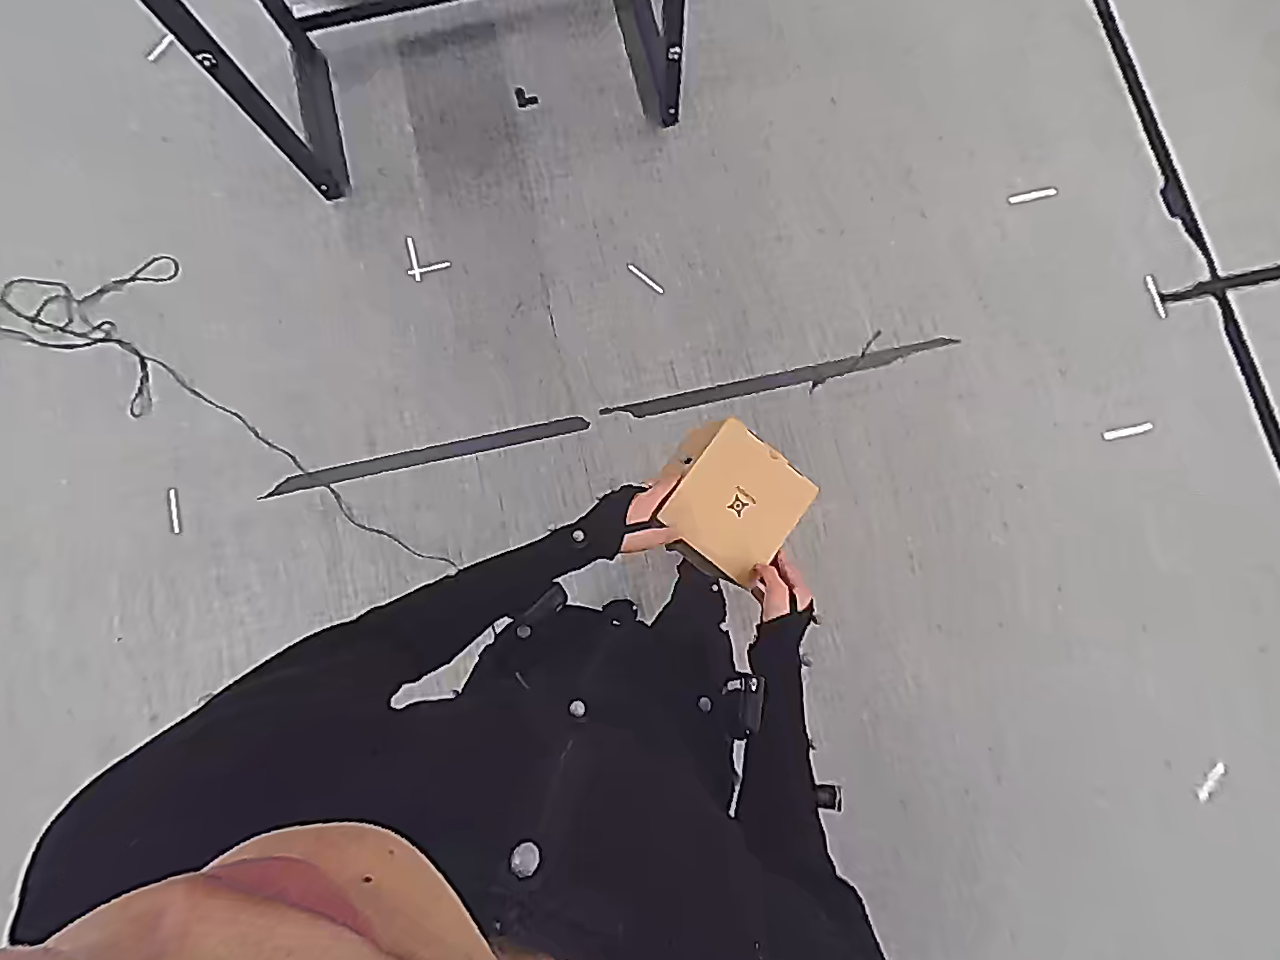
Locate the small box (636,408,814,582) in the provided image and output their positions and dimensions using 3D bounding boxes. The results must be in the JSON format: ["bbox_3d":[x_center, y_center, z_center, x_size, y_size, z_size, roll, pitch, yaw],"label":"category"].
[{"bbox_3d":[0.111,0.023,0.794,0.168,0.176,0.179,37,80,-10],"label":"small box"}]
